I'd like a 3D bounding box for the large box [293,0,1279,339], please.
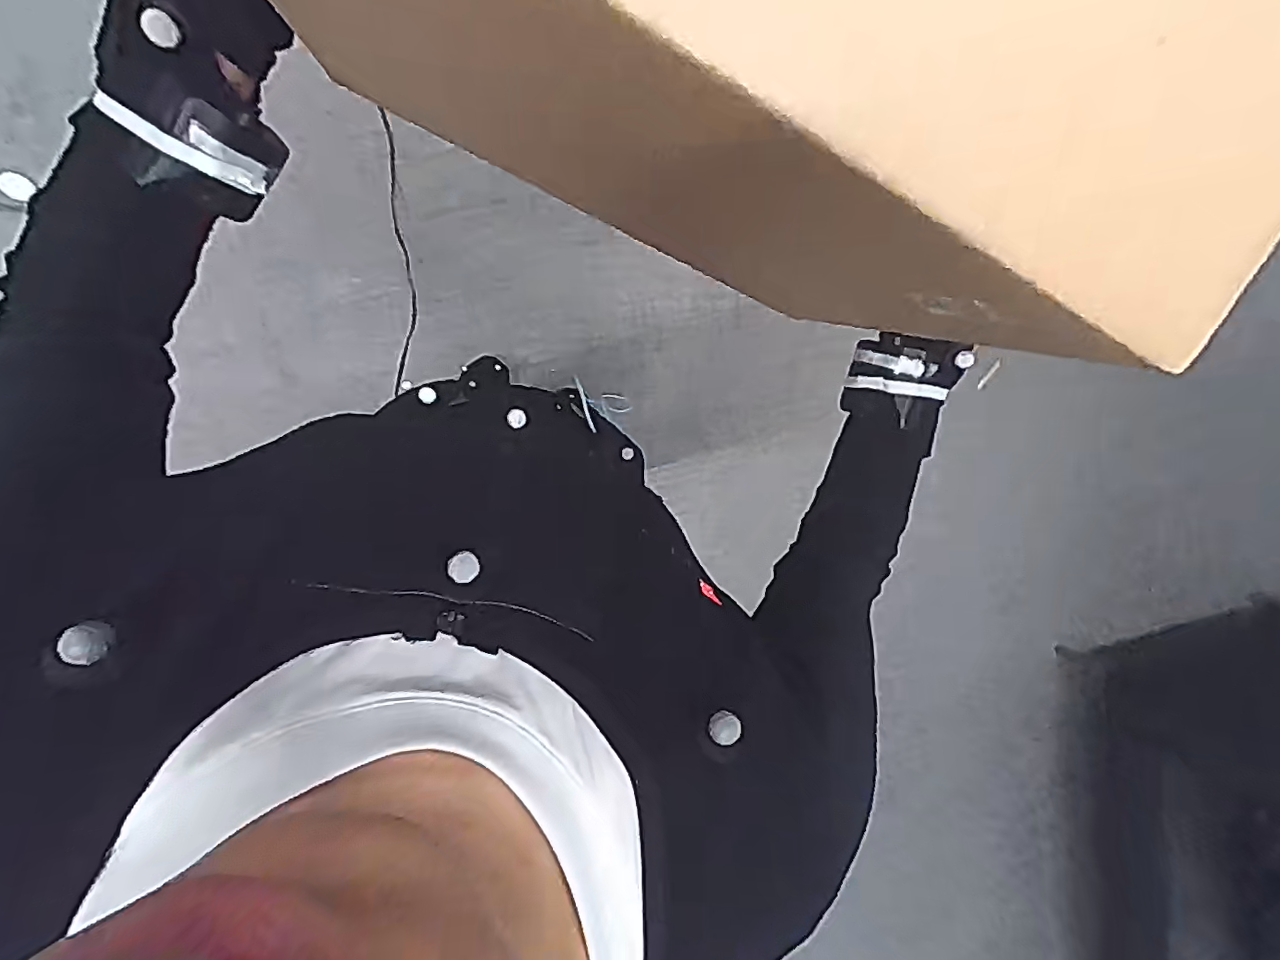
[{"bbox_3d":[0.069,-0.301,0.267,0.408,0.320,0.320,18,105,-22],"label":"large box"}]
